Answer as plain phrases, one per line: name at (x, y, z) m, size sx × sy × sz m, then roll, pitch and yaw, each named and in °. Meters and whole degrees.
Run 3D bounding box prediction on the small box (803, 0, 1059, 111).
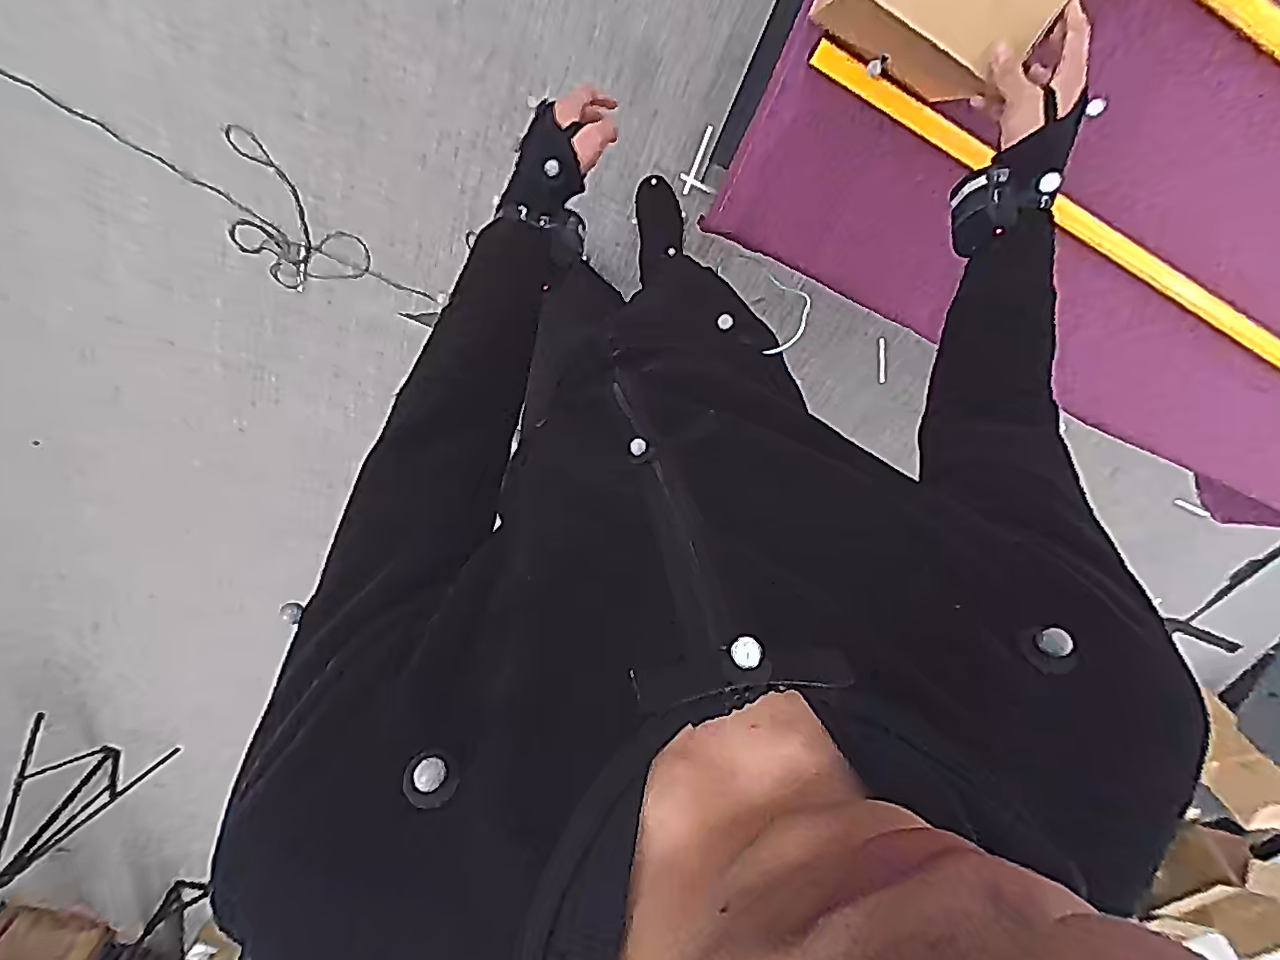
small box at (0.292, -0.497, 0.530) m, size 0.179 × 0.176 × 0.168 m, roll 23°, pitch 121°, yaw -14°
